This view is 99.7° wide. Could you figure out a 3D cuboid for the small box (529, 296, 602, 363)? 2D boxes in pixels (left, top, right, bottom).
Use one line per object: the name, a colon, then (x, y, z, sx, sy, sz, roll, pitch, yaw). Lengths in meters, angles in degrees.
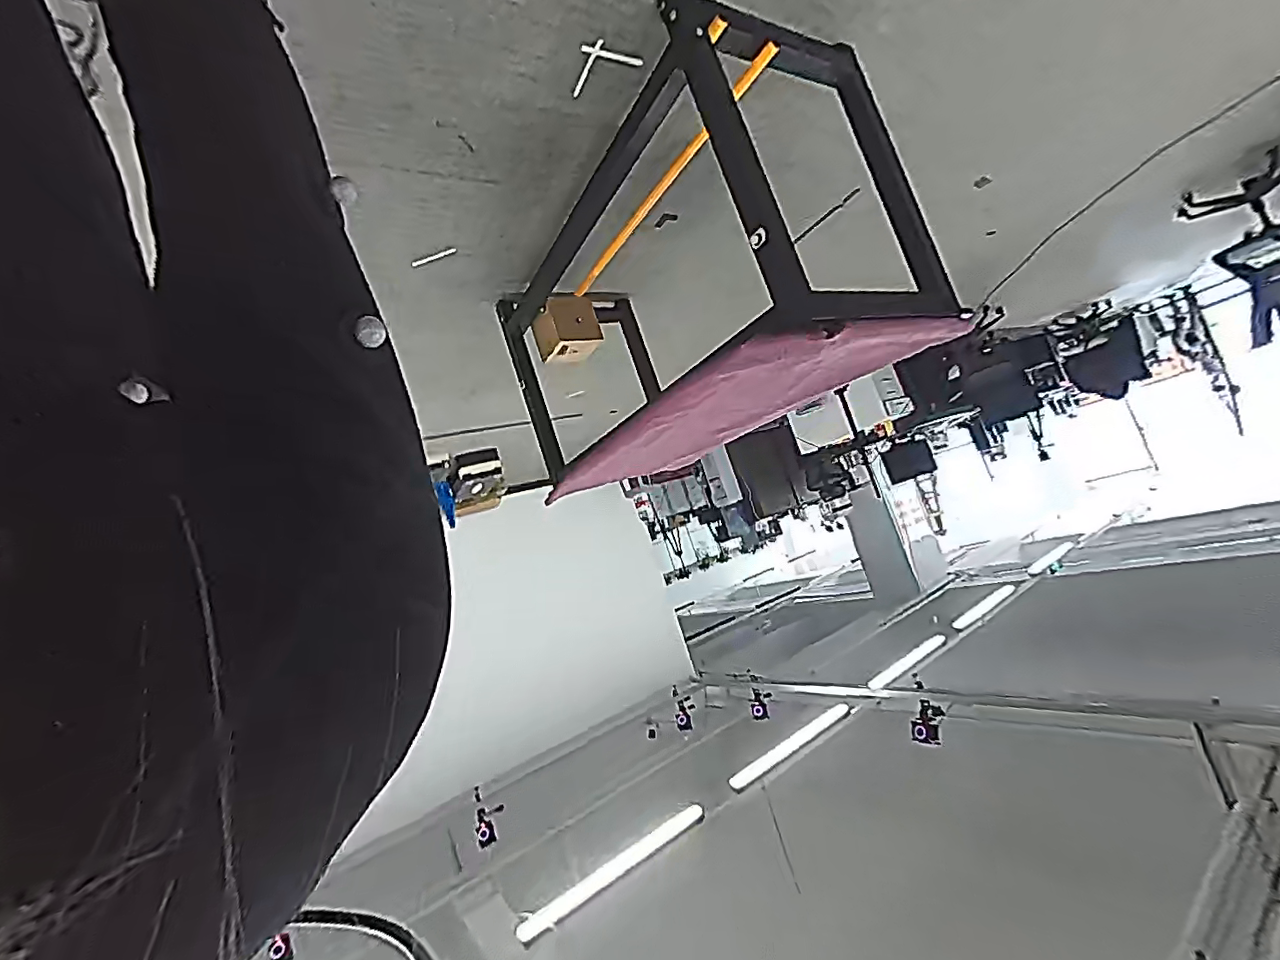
small box: (-0.266, -0.528, 1.889, 0.179, 0.176, 0.168, -14, 171, -35)
